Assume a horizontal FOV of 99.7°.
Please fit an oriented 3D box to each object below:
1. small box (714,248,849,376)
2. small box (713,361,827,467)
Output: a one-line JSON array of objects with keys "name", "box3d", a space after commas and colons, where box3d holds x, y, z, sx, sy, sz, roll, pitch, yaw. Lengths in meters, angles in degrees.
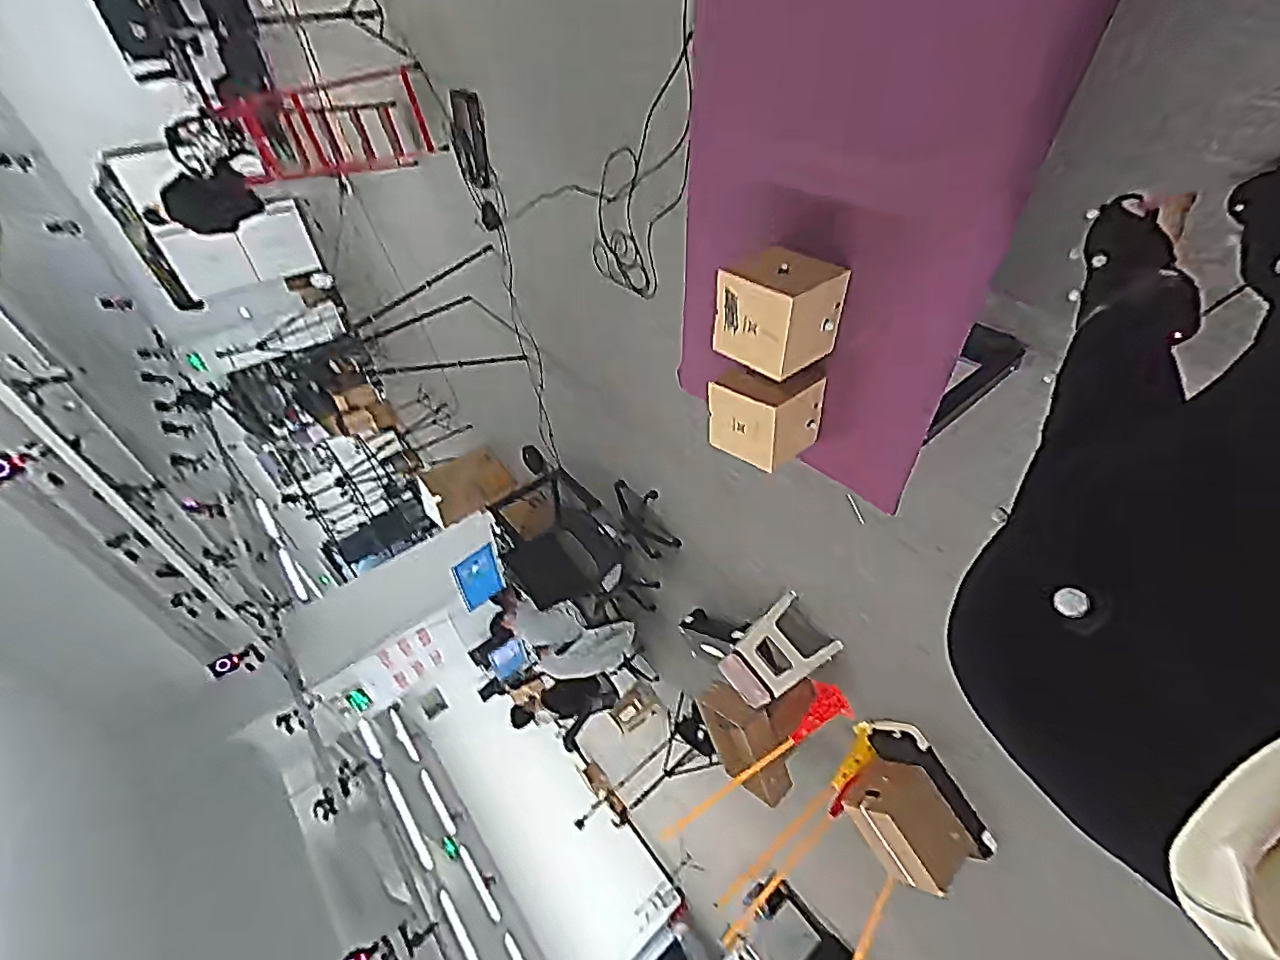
[{"name": "small box", "box3d": [0.268, -0.332, 1.045, 0.179, 0.176, 0.168, 38, 147, 35]}, {"name": "small box", "box3d": [0.282, -0.163, 1.197, 0.179, 0.176, 0.168, 35, 146, 39]}]
